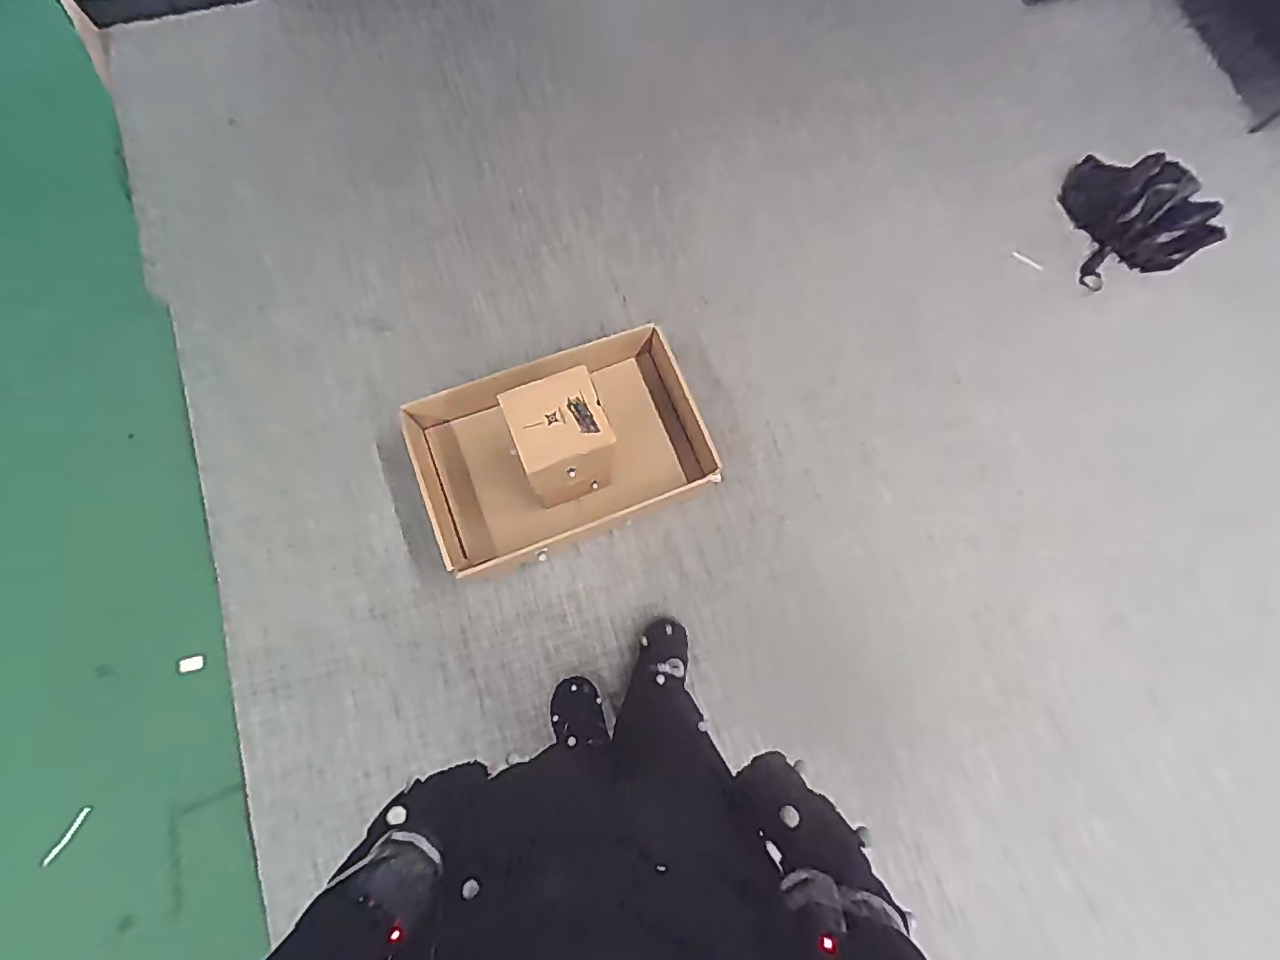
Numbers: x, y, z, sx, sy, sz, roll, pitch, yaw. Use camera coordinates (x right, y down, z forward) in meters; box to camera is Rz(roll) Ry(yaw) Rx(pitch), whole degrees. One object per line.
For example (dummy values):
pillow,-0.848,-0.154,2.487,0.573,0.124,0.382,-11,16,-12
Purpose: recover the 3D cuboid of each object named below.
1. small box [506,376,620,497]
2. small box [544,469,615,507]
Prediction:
small box,-0.150,-0.081,1.091,0.179,0.176,0.168,-20,77,-8
small box,-0.162,-0.048,1.234,0.168,0.176,0.179,-21,77,-9
